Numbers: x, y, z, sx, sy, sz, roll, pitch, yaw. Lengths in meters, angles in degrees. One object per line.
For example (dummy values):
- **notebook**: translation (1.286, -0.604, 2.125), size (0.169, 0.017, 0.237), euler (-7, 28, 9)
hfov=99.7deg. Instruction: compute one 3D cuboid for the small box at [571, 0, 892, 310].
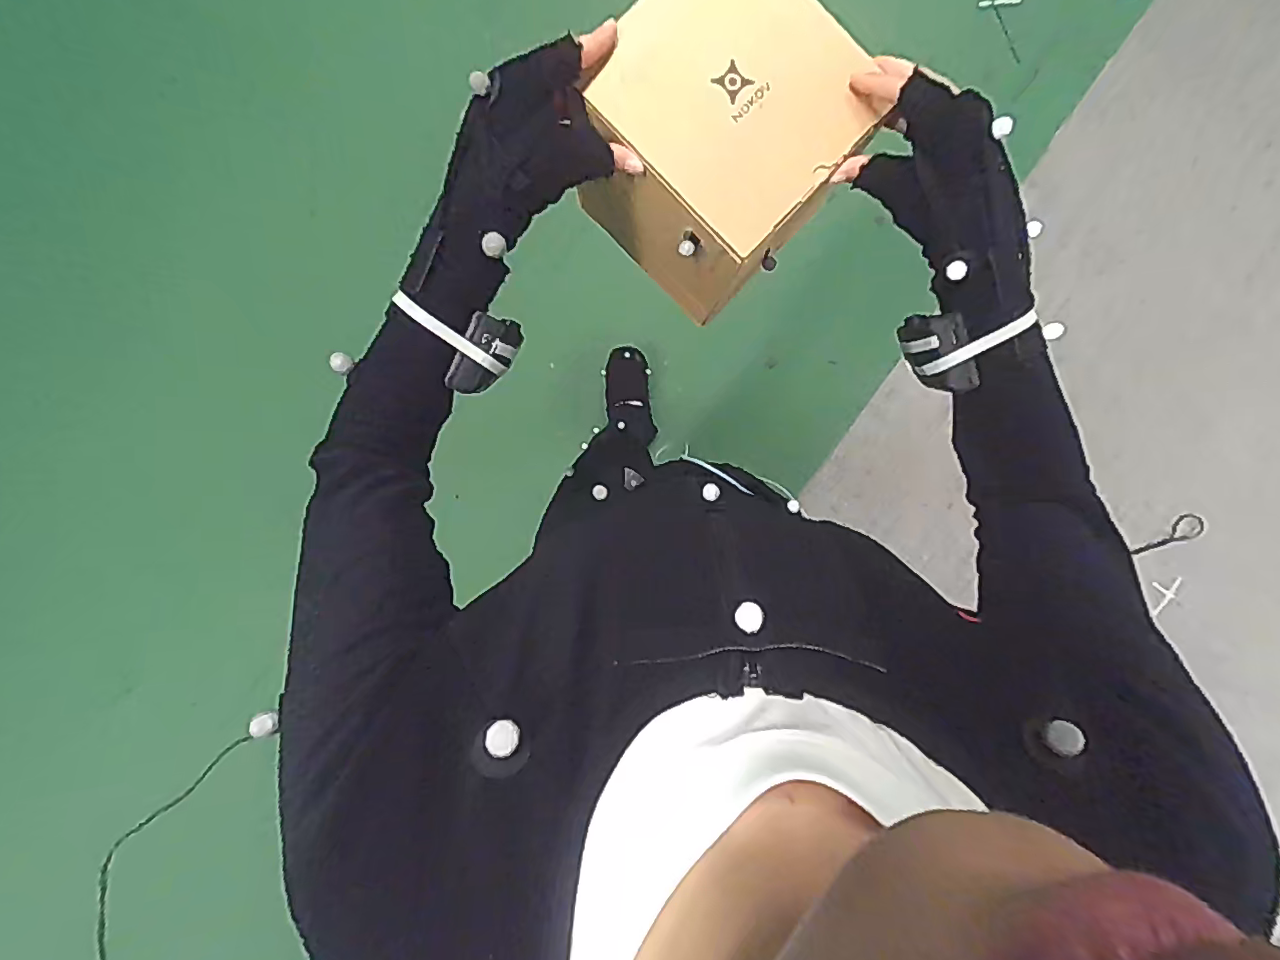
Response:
- **small box**: translation (0.060, -0.277, 0.461), size (0.179, 0.176, 0.168), euler (44, 88, -4)
